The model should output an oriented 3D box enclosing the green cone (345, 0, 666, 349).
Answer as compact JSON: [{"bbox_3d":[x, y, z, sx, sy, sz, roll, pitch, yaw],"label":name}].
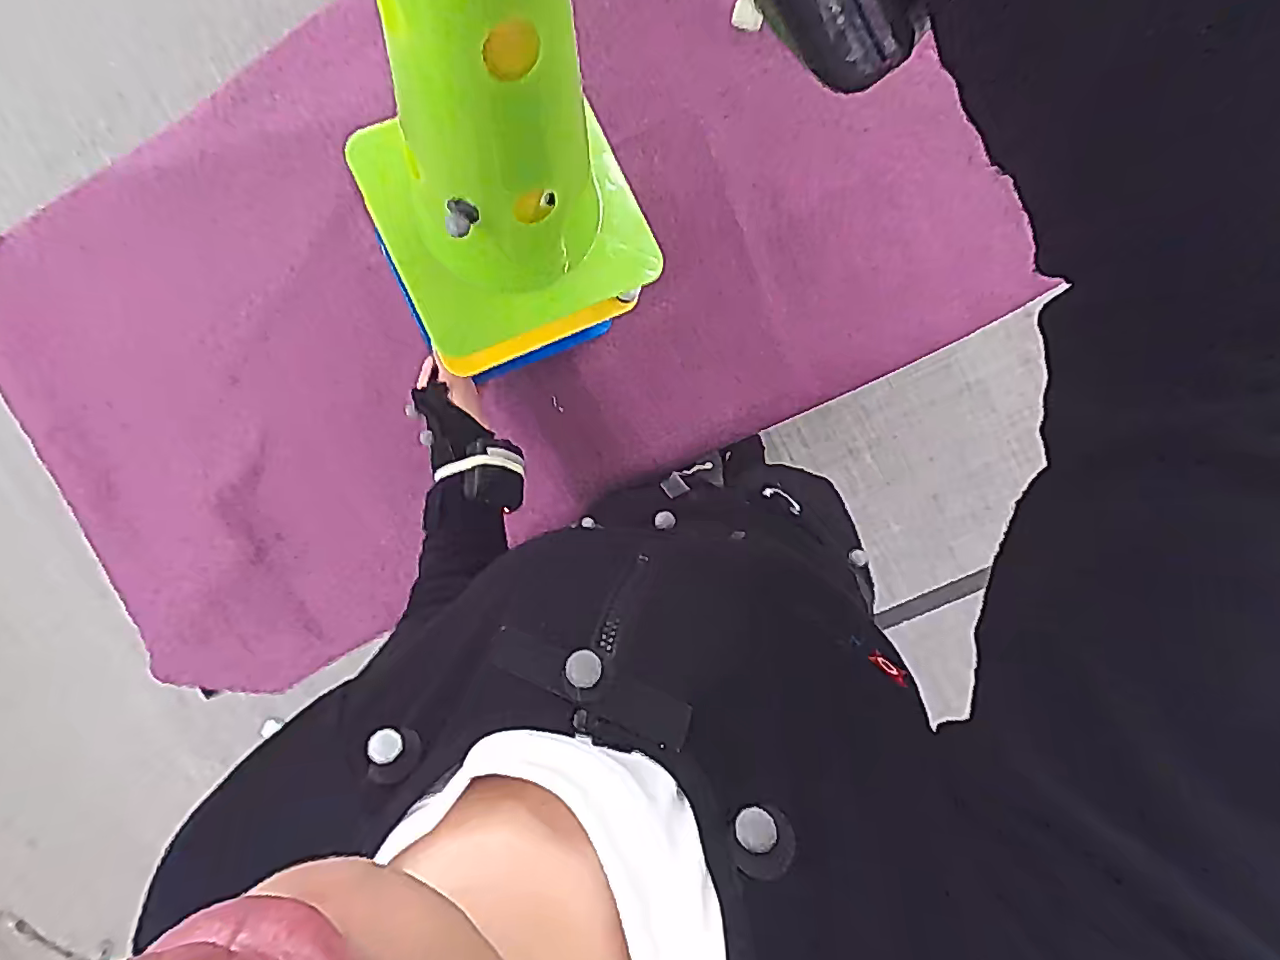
[{"bbox_3d":[-0.076,-0.240,0.256,0.200,0.368,0.202,-26,89,-10],"label":"green cone"}]
